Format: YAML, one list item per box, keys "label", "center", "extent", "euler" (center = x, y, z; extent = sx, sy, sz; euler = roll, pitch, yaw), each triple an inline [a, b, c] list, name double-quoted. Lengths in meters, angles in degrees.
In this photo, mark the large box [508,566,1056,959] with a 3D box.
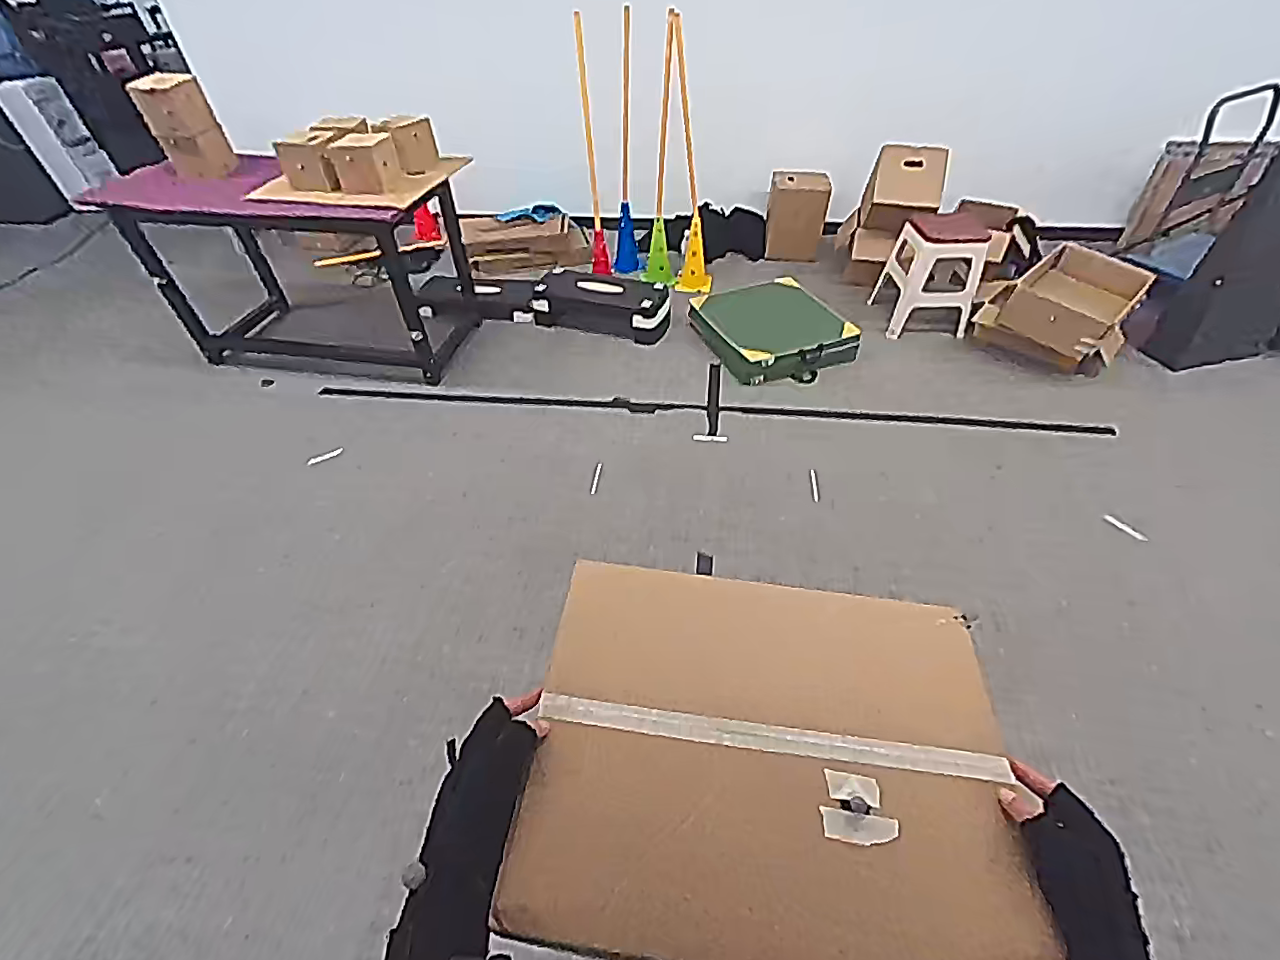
- label: "large box"
  center: [0.108, 0.326, 0.591]
  extent: [0.408, 0.320, 0.320]
  euler: [7, 49, 3]
